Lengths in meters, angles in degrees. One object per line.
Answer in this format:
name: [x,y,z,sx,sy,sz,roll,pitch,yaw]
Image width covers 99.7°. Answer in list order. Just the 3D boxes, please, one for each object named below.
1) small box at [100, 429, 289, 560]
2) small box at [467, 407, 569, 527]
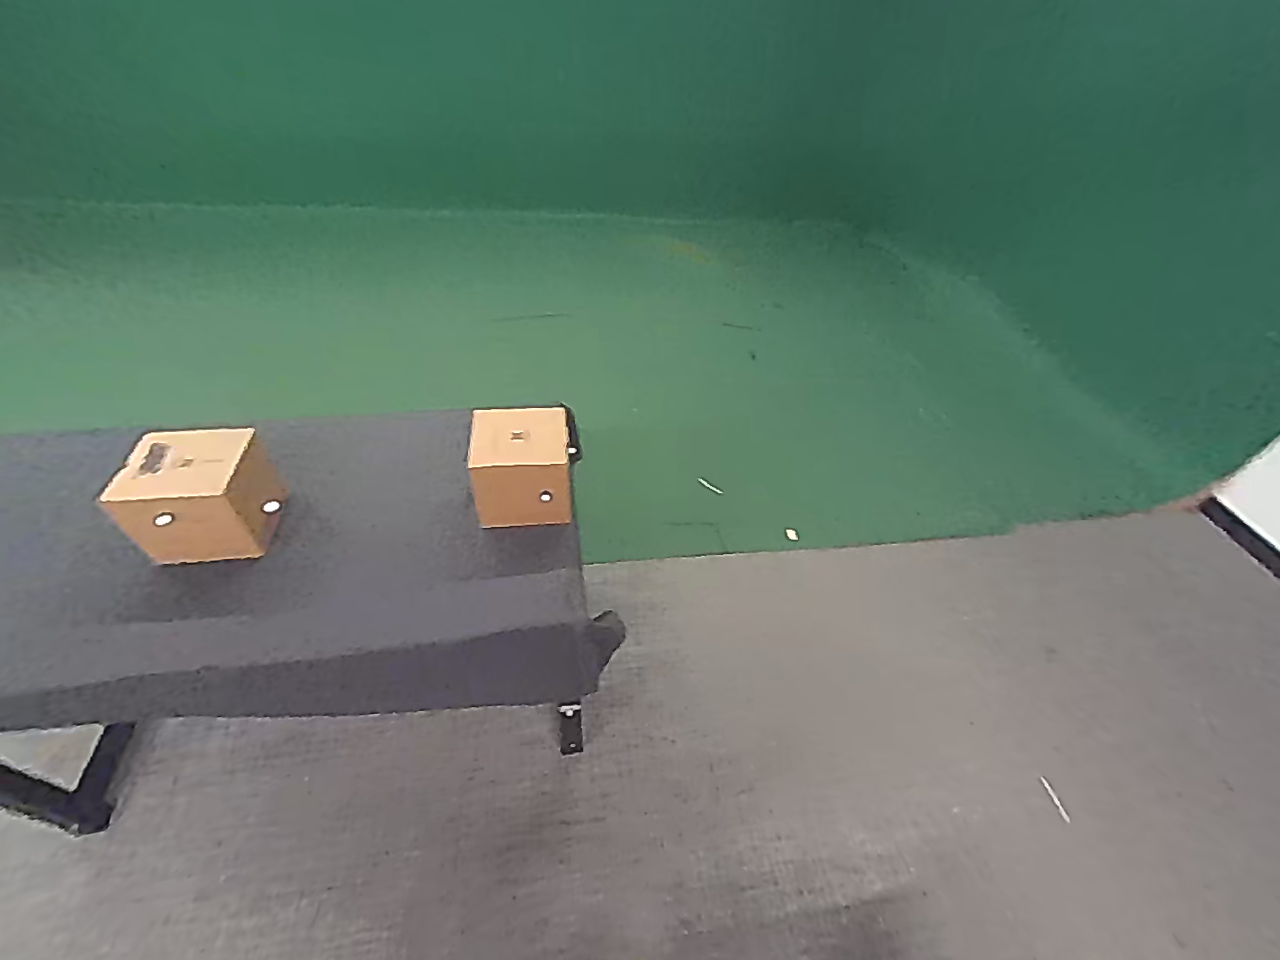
small box: [-0.769,0.028,0.960,0.179,0.176,0.168,-3,47,-10]
small box: [-0.230,-0.024,1.061,0.179,0.176,0.168,-4,45,-7]
